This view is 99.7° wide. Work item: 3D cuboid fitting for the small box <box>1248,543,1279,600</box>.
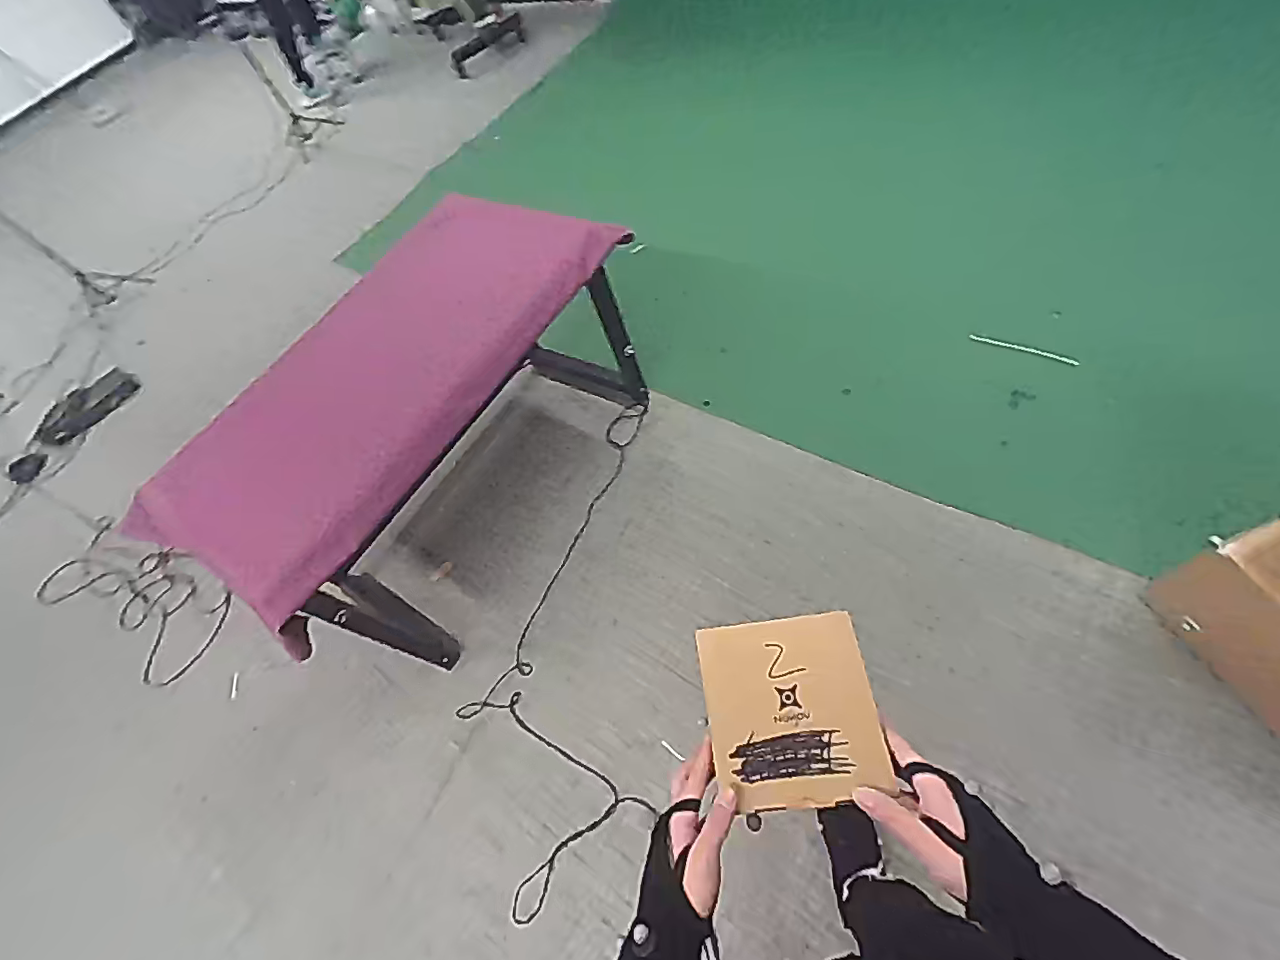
[{"bbox_3d":[1.289,0.157,0.969,0.179,0.176,0.168,-25,57,1],"label":"small box"}]
